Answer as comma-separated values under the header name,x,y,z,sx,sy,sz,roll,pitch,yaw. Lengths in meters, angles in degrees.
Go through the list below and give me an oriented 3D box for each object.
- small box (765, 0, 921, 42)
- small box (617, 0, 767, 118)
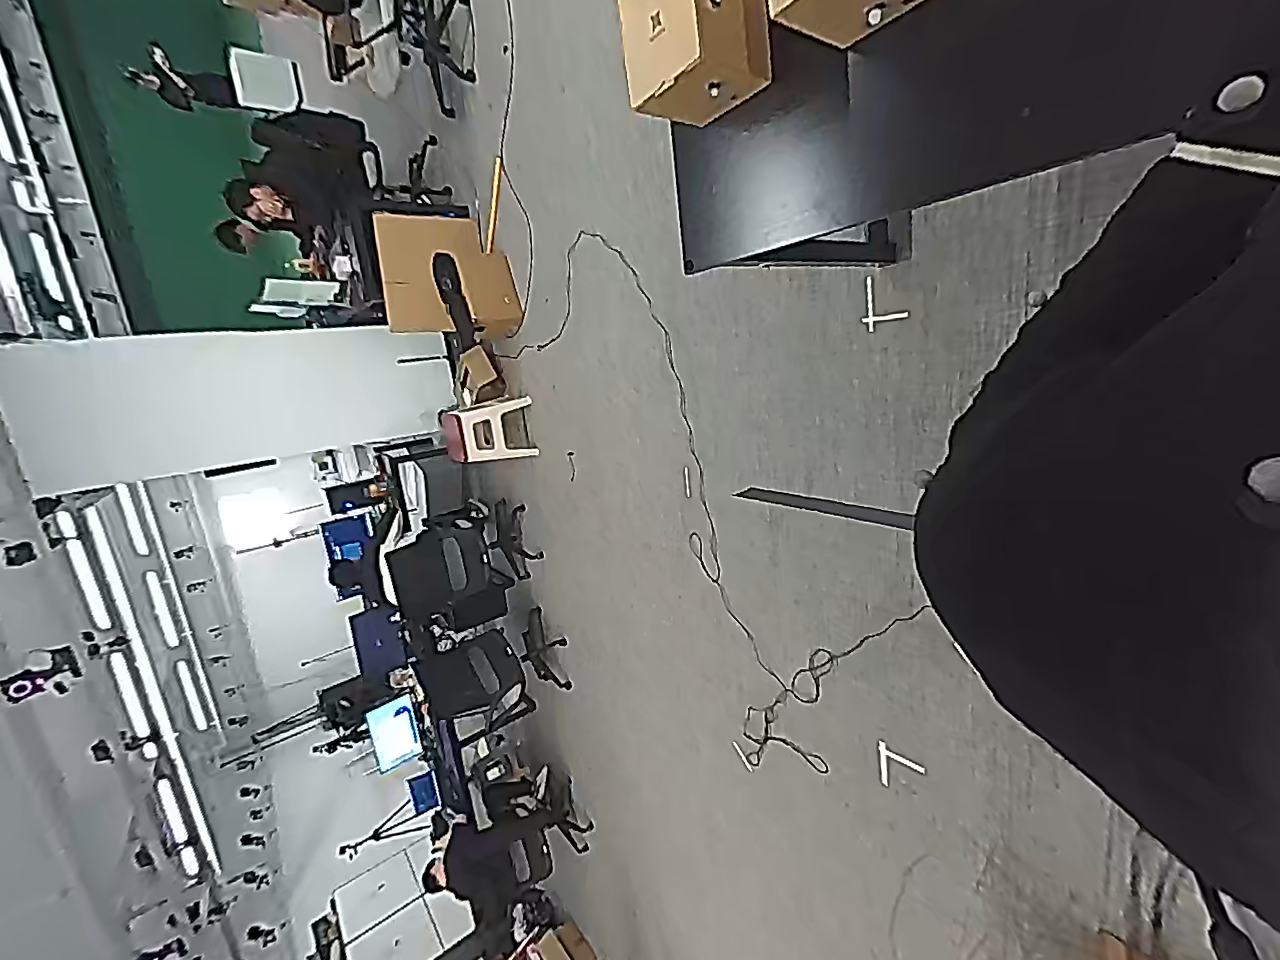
name,x,y,z,sx,sy,sz,roll,pitch,yaw
small box,0.262,-0.676,0.644,0.168,0.176,0.179,8,110,52
small box,0.087,-0.713,0.869,0.168,0.176,0.179,6,107,51
